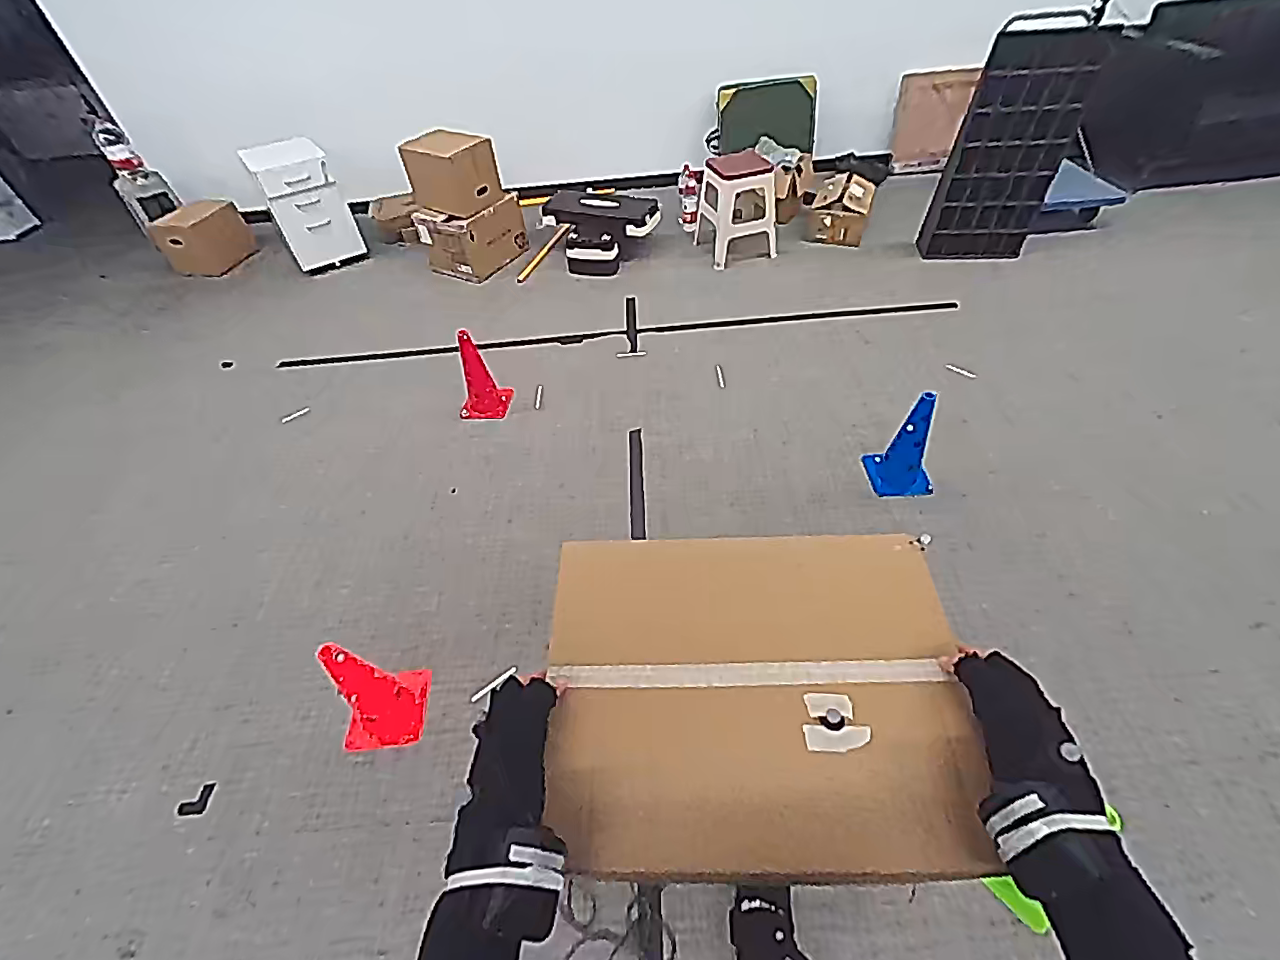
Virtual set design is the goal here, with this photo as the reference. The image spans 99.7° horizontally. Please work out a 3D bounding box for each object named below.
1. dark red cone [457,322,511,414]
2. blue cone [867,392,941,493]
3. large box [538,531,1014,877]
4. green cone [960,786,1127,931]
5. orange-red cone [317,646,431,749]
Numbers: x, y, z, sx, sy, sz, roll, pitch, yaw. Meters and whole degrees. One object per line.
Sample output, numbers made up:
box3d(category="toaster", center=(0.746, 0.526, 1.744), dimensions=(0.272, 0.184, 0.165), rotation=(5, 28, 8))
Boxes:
box3d(category="dark red cone", center=(-0.676, -0.461, 2.212), dimensions=(0.201, 0.394, 0.202), rotation=(0, 47, 5))
box3d(category="blue cone", center=(0.912, -0.137, 1.807), dimensions=(0.192, 0.380, 0.193), rotation=(-1, 47, 3))
box3d(category="large box", center=(0.116, 0.278, 0.655), dimensions=(0.408, 0.320, 0.320), rotation=(-2, 52, 3))
box3d(category="green cone", center=(0.804, 0.682, 1.033), dimensions=(0.202, 0.368, 0.200), rotation=(-33, 53, -25))
box3d(category="orange-red cone", center=(-0.692, 0.509, 1.346), dimensions=(0.198, 0.360, 0.199), rotation=(-7, 48, 0))
